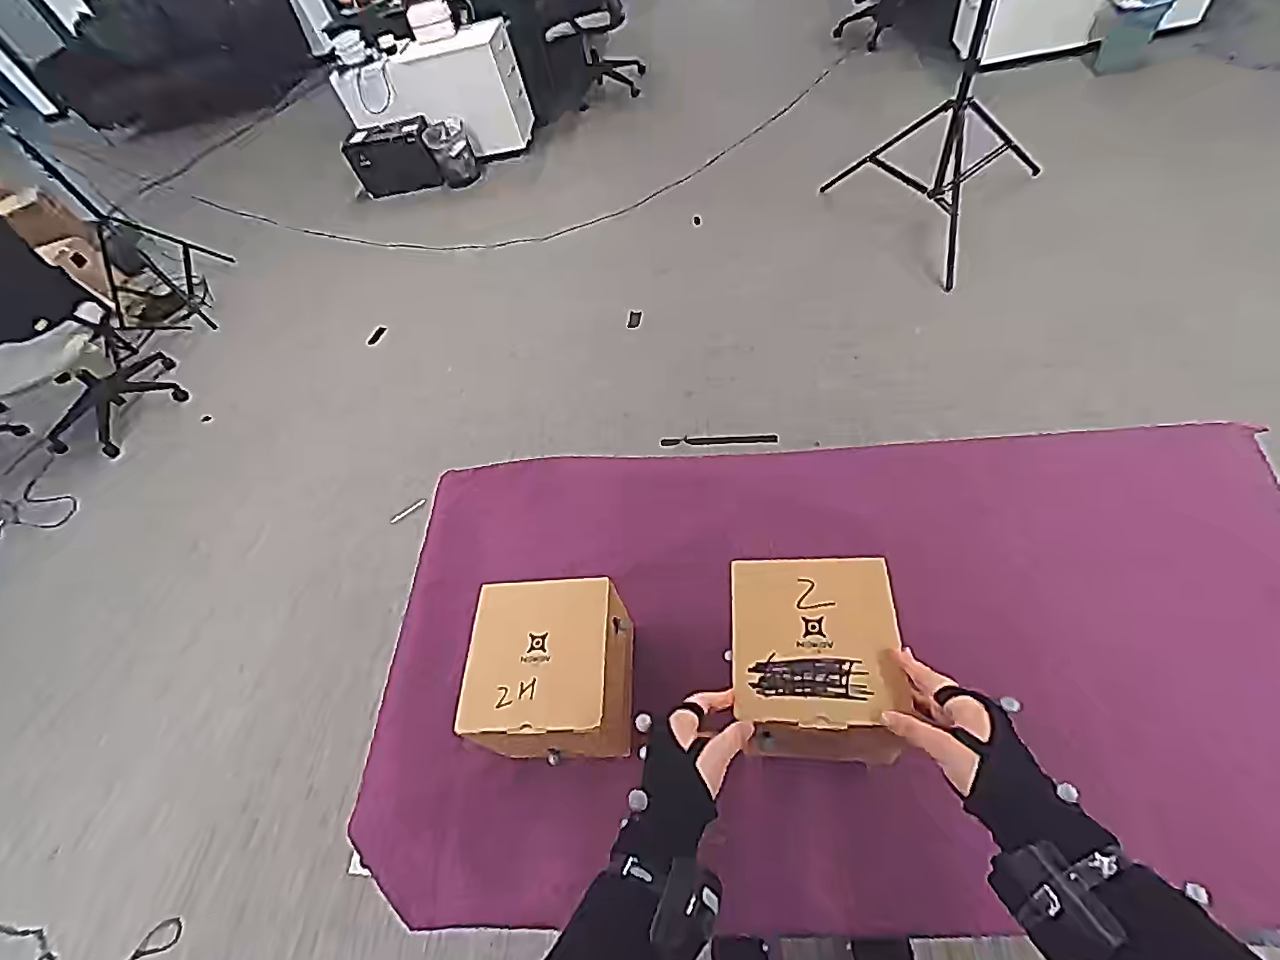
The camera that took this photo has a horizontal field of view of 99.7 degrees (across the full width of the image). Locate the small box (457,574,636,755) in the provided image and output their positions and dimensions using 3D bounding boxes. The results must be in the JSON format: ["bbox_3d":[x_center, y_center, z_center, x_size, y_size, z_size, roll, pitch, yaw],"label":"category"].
[{"bbox_3d":[-0.101,0.235,0.679,0.168,0.176,0.179,-5,55,9],"label":"small box"}]
